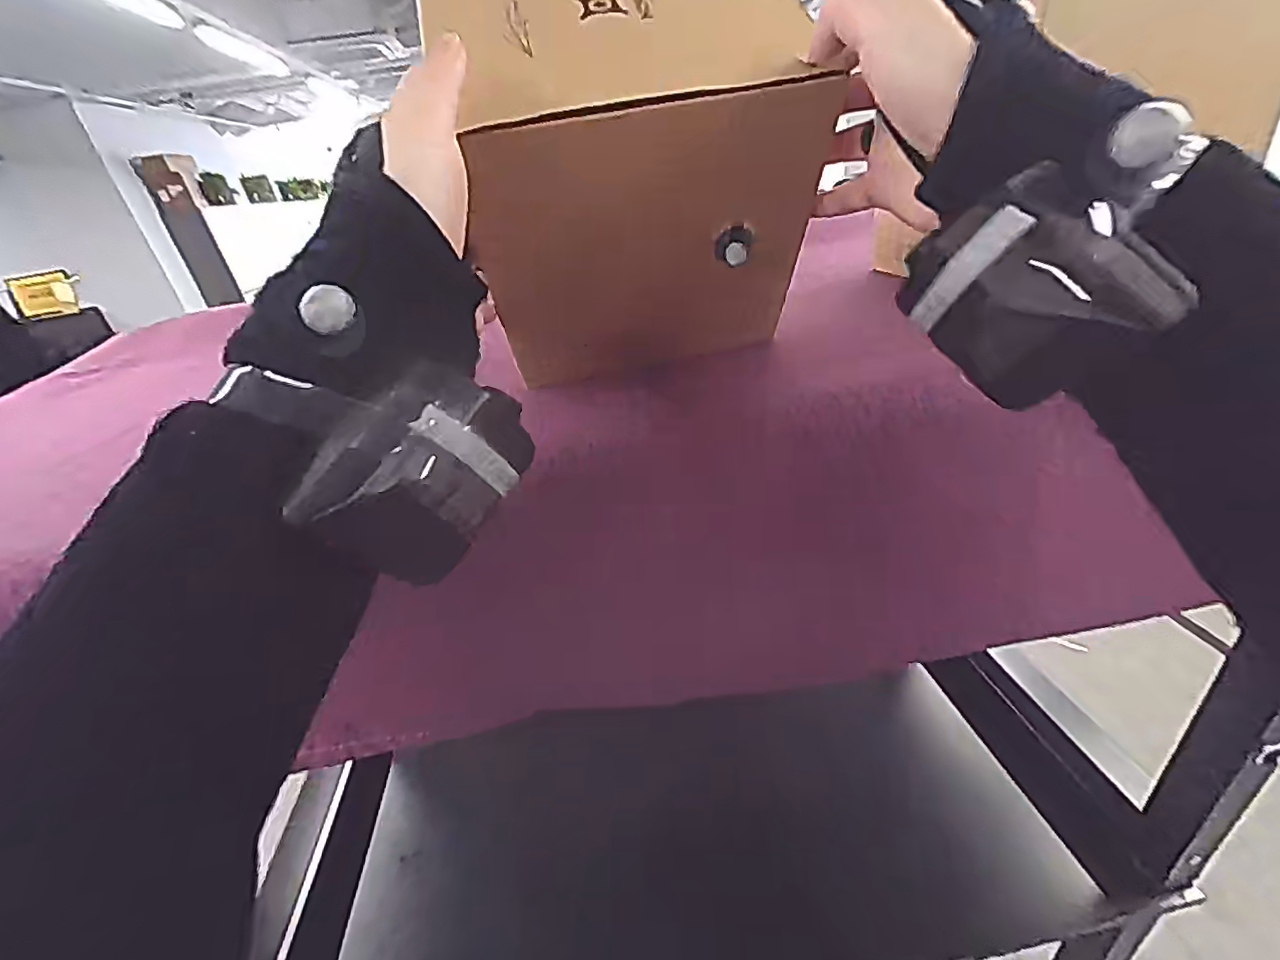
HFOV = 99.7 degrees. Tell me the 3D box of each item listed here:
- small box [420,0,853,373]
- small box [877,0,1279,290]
[{"bbox_3d":[-0.011,-0.187,0.319,0.179,0.176,0.168,-12,66,-4],"label":"small box"},{"bbox_3d":[0.297,-0.249,0.394,0.179,0.176,0.168,-11,29,-3],"label":"small box"}]
